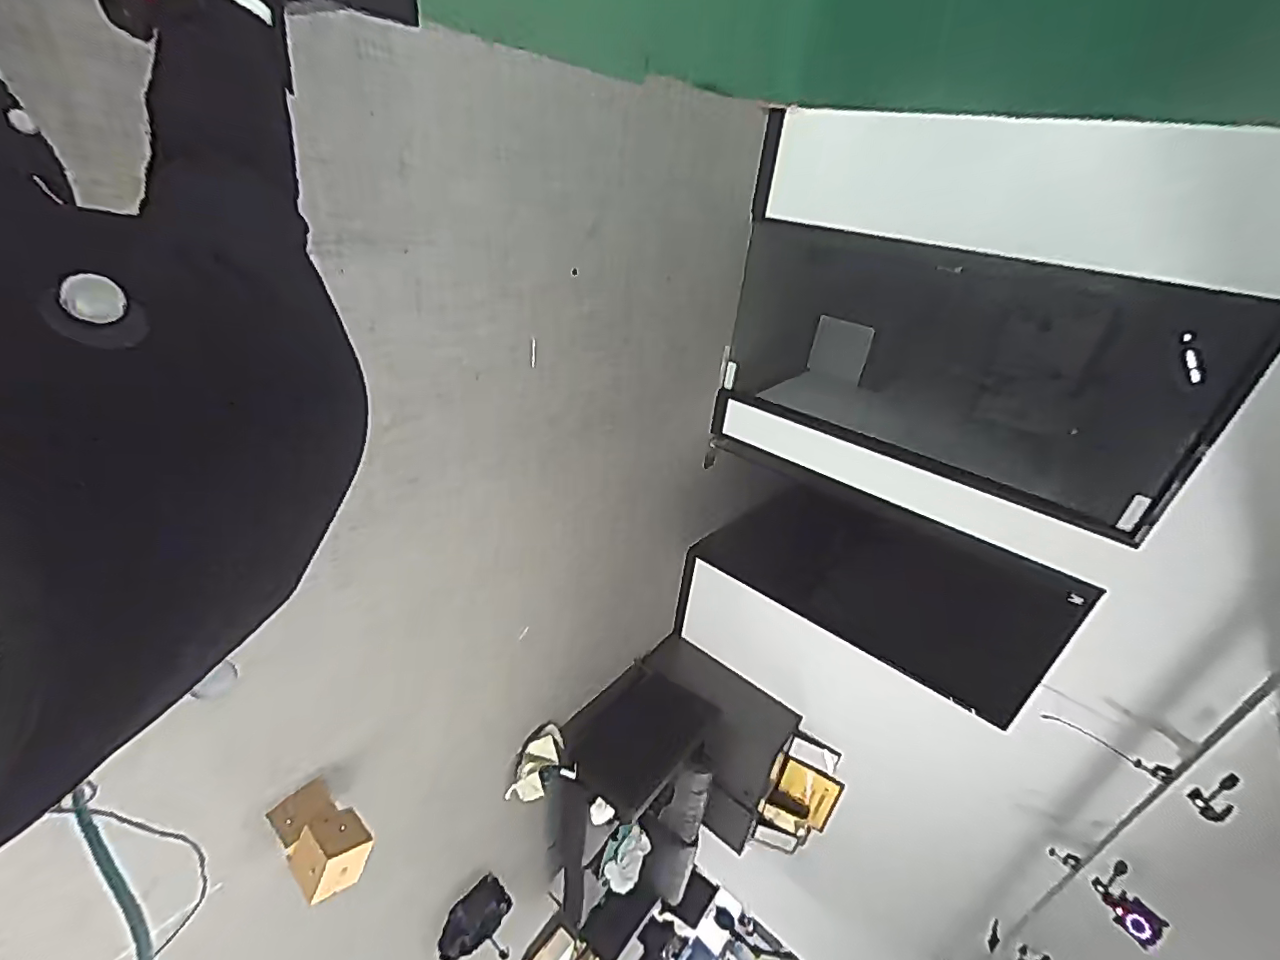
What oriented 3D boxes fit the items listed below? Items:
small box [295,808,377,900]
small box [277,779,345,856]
[{"bbox_3d":[-1.050,1.272,1.863,0.168,0.176,0.179,15,101,-59],"label":"small box"},{"bbox_3d":[-1.169,1.231,1.941,0.179,0.176,0.168,-33,139,-41],"label":"small box"}]
